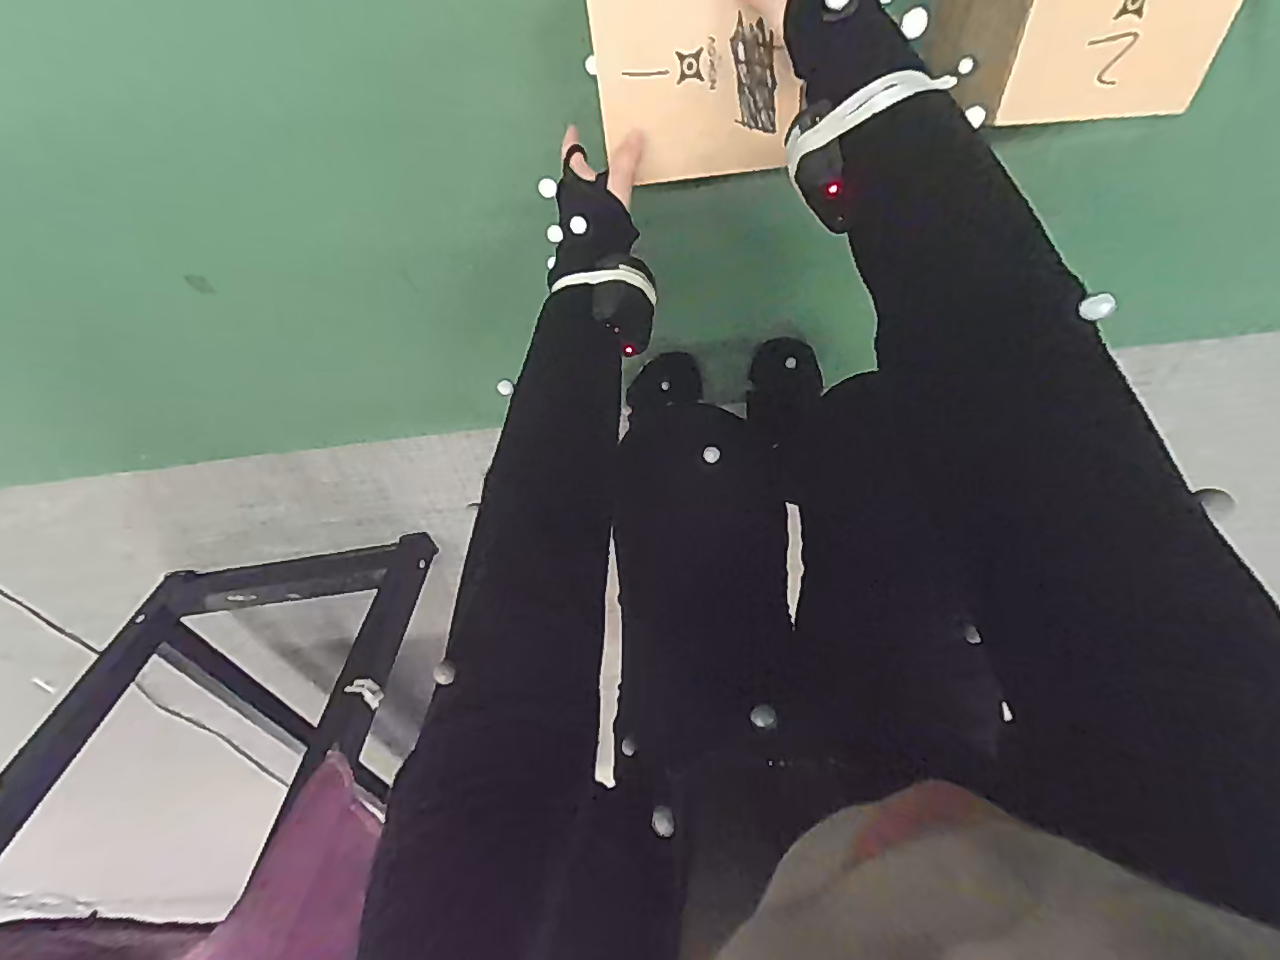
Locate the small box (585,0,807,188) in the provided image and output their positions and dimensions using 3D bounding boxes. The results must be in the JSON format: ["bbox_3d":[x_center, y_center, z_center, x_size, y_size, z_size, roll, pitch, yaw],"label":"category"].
[{"bbox_3d":[0.049,-0.394,0.512,0.179,0.176,0.168,-4,130,5],"label":"small box"}]
